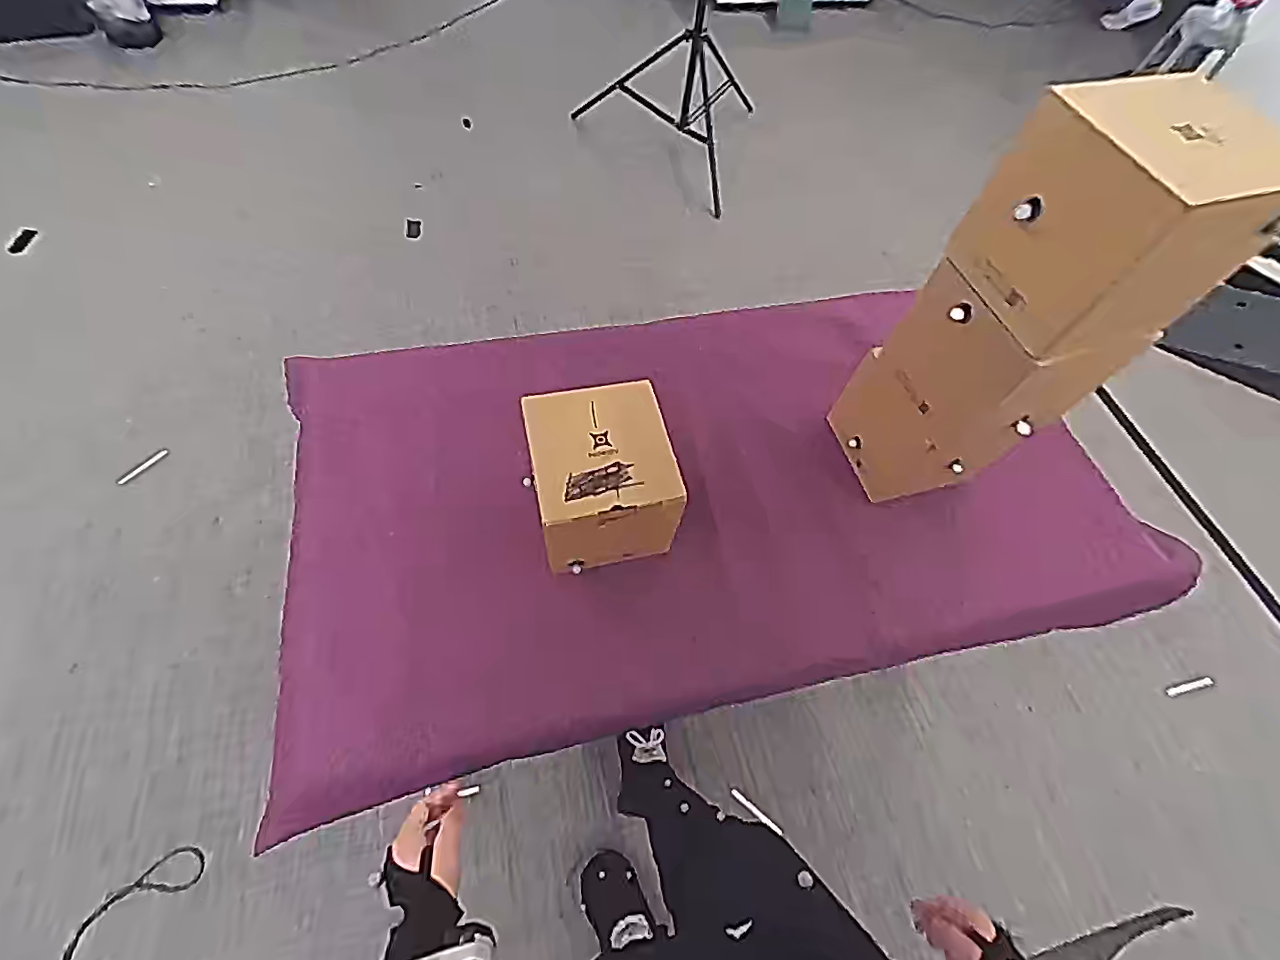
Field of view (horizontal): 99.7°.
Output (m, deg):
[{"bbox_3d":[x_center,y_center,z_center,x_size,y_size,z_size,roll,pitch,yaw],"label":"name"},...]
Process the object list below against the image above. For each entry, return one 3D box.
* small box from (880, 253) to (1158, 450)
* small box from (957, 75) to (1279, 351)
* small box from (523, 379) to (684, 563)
[{"bbox_3d":[0.434,-0.159,0.653,0.179,0.176,0.168,-14,63,-13],"label":"small box"},{"bbox_3d":[0.444,-0.245,0.514,0.179,0.176,0.168,-14,63,-13],"label":"small box"},{"bbox_3d":[-0.052,-0.003,0.706,0.168,0.176,0.179,-10,62,-11],"label":"small box"}]
